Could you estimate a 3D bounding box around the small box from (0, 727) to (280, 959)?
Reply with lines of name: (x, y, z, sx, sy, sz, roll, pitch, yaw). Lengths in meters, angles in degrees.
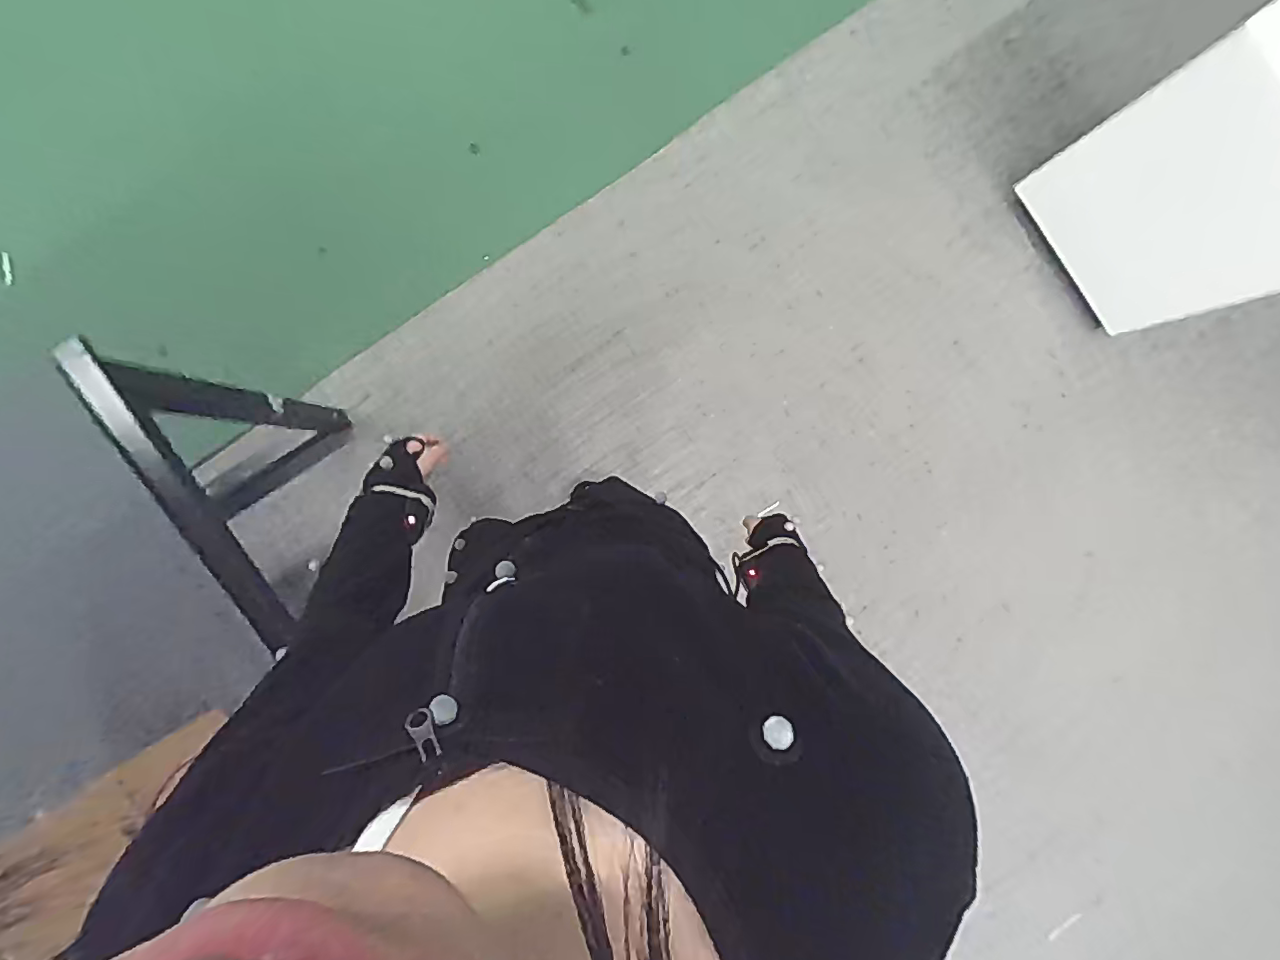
small box: (-0.592, 0.443, 0.649, 0.179, 0.176, 0.168, -37, 92, -2)
